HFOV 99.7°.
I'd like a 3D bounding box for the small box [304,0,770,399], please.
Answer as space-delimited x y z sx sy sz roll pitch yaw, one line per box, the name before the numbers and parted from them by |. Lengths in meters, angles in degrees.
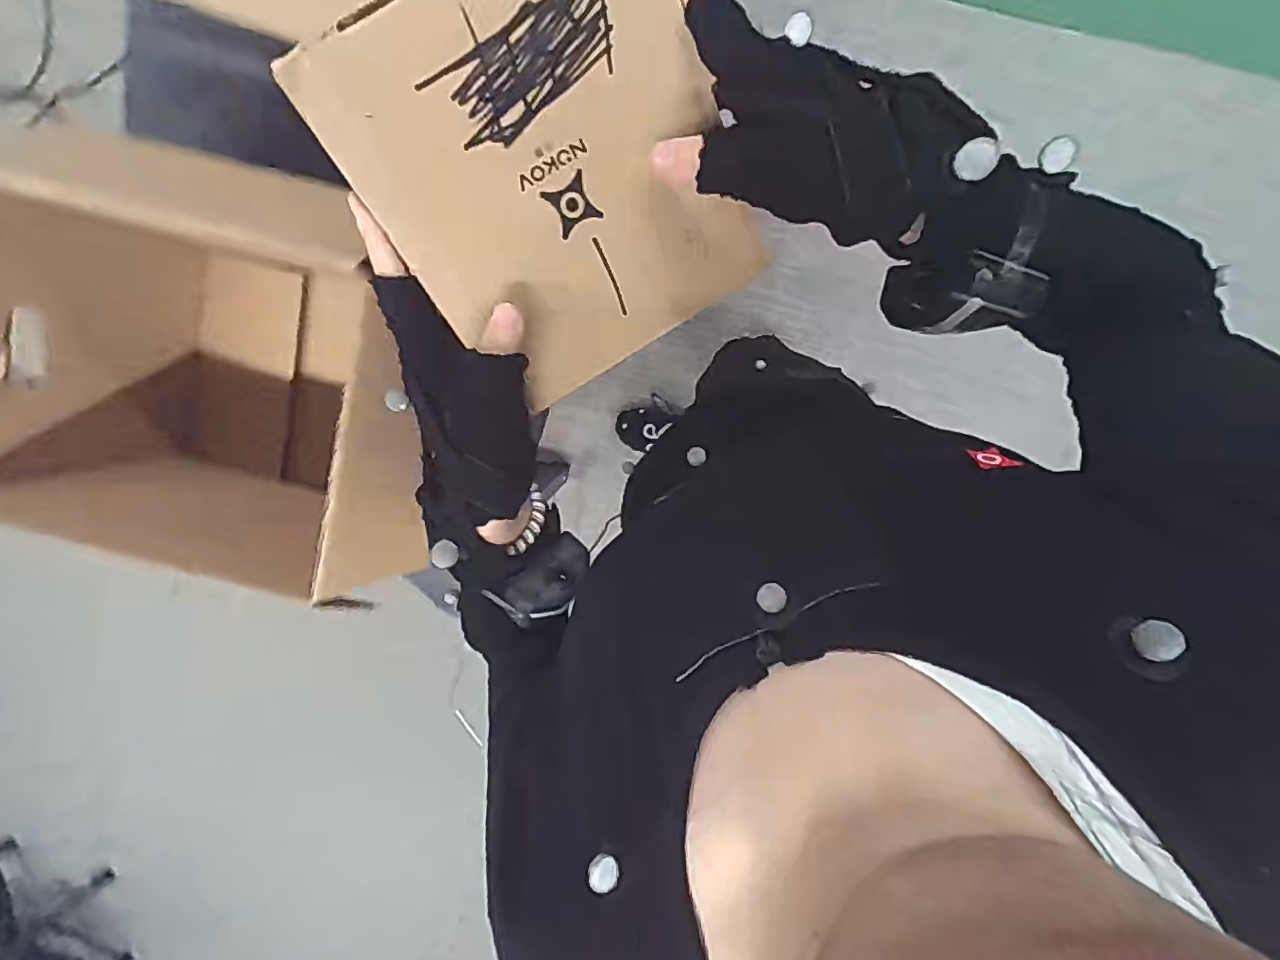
small box | -0.054 -0.179 0.328 0.168 0.176 0.179 -30 120 -3
